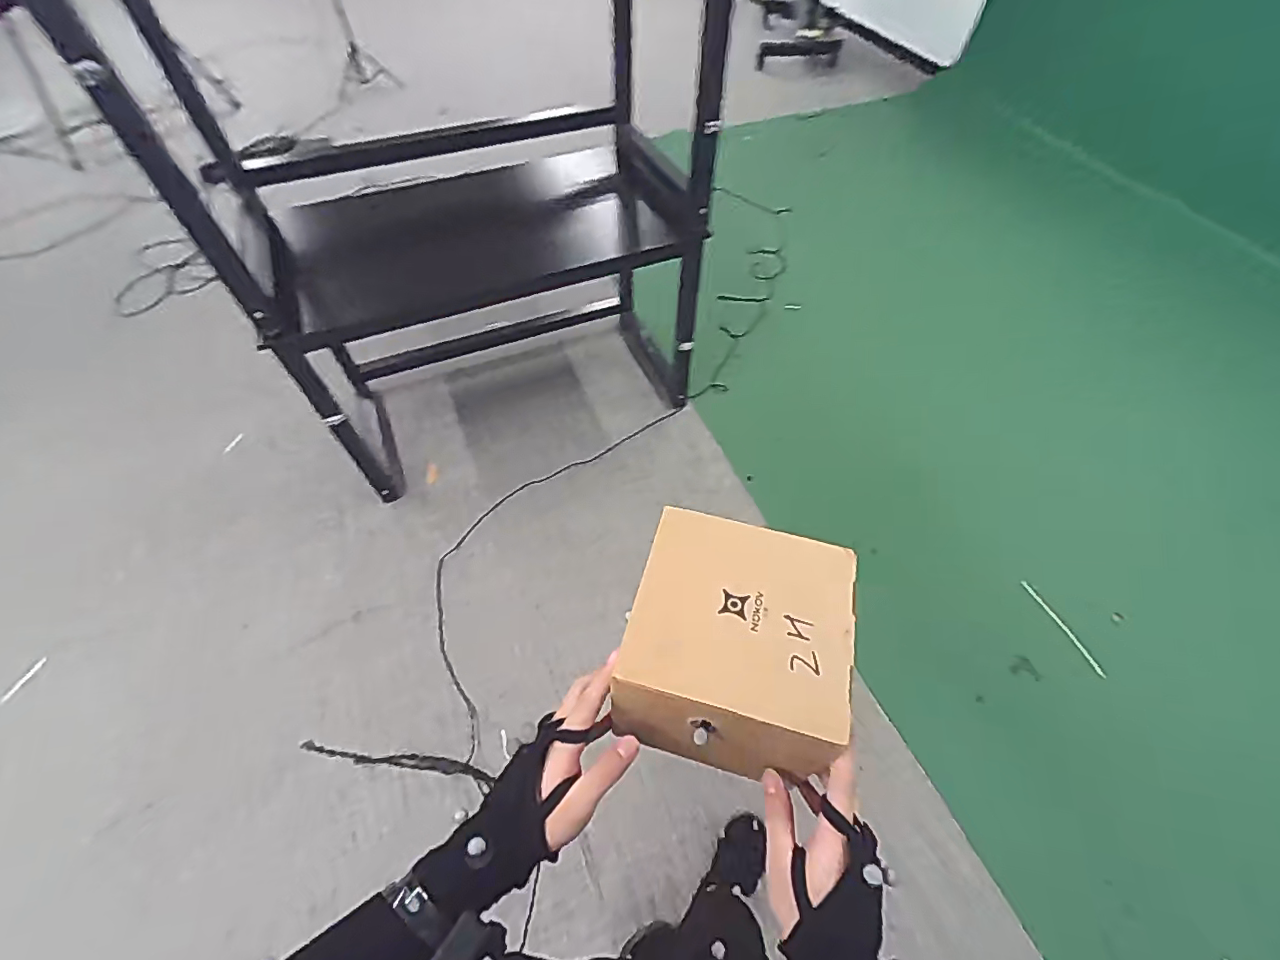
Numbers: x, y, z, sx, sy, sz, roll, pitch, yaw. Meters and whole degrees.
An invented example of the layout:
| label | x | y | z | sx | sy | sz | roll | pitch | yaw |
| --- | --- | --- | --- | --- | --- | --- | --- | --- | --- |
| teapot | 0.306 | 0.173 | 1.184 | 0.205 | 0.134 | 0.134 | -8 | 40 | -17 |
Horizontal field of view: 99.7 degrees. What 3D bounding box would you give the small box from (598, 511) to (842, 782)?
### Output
| label | x | y | z | sx | sy | sz | roll | pitch | yaw |
| --- | --- | --- | --- | --- | --- | --- | --- | --- | --- |
| small box | 0.071 | 0.157 | 0.501 | 0.179 | 0.176 | 0.168 | 13 | 52 | 9 |
